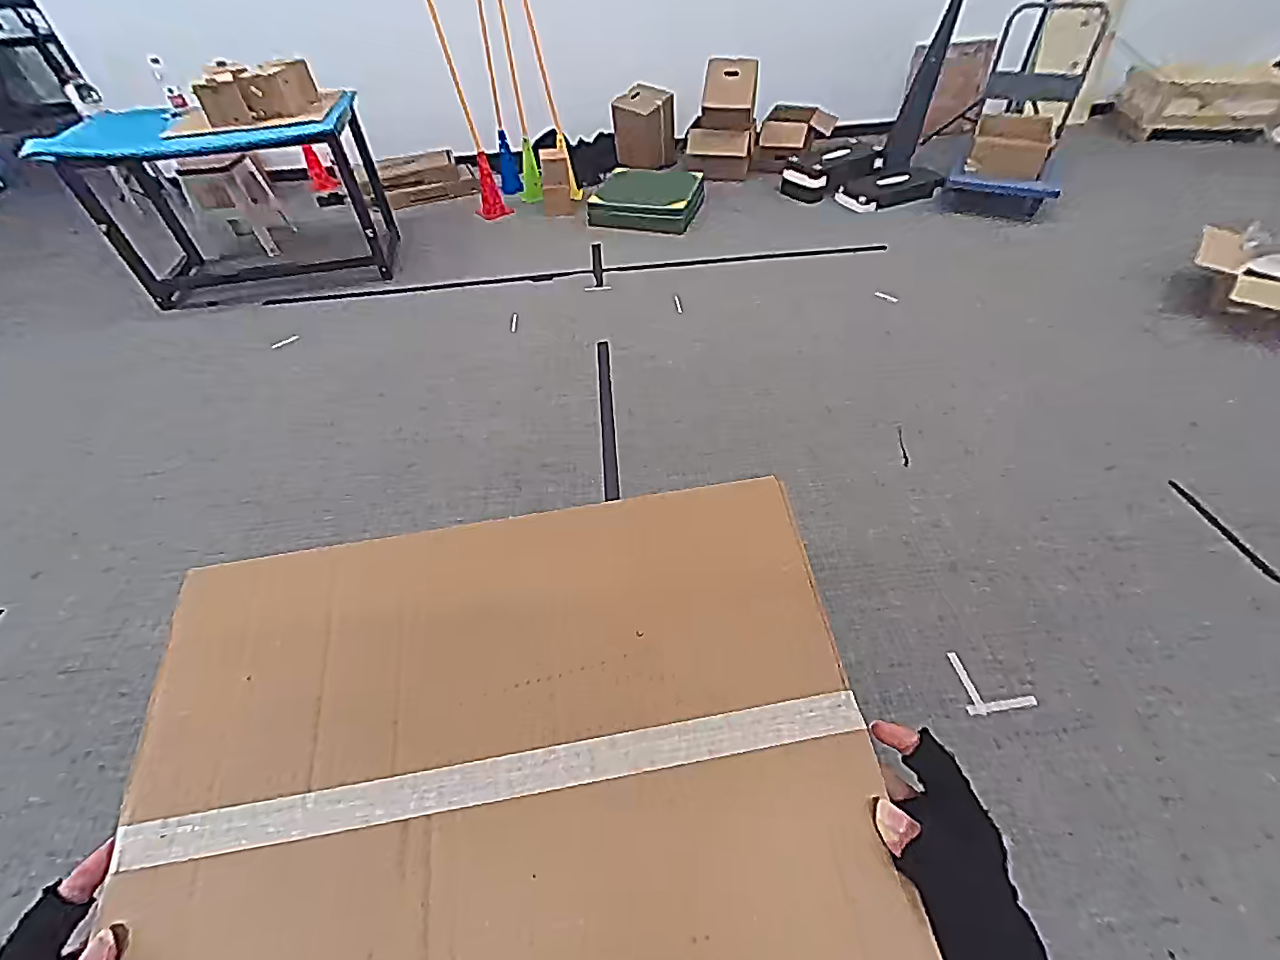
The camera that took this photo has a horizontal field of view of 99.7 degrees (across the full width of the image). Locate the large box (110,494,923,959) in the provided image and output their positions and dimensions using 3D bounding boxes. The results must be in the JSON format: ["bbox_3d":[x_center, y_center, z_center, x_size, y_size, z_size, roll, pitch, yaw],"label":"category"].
[{"bbox_3d":[-0.070,0.243,0.434,0.408,0.320,0.320,-9,61,-3],"label":"large box"}]
